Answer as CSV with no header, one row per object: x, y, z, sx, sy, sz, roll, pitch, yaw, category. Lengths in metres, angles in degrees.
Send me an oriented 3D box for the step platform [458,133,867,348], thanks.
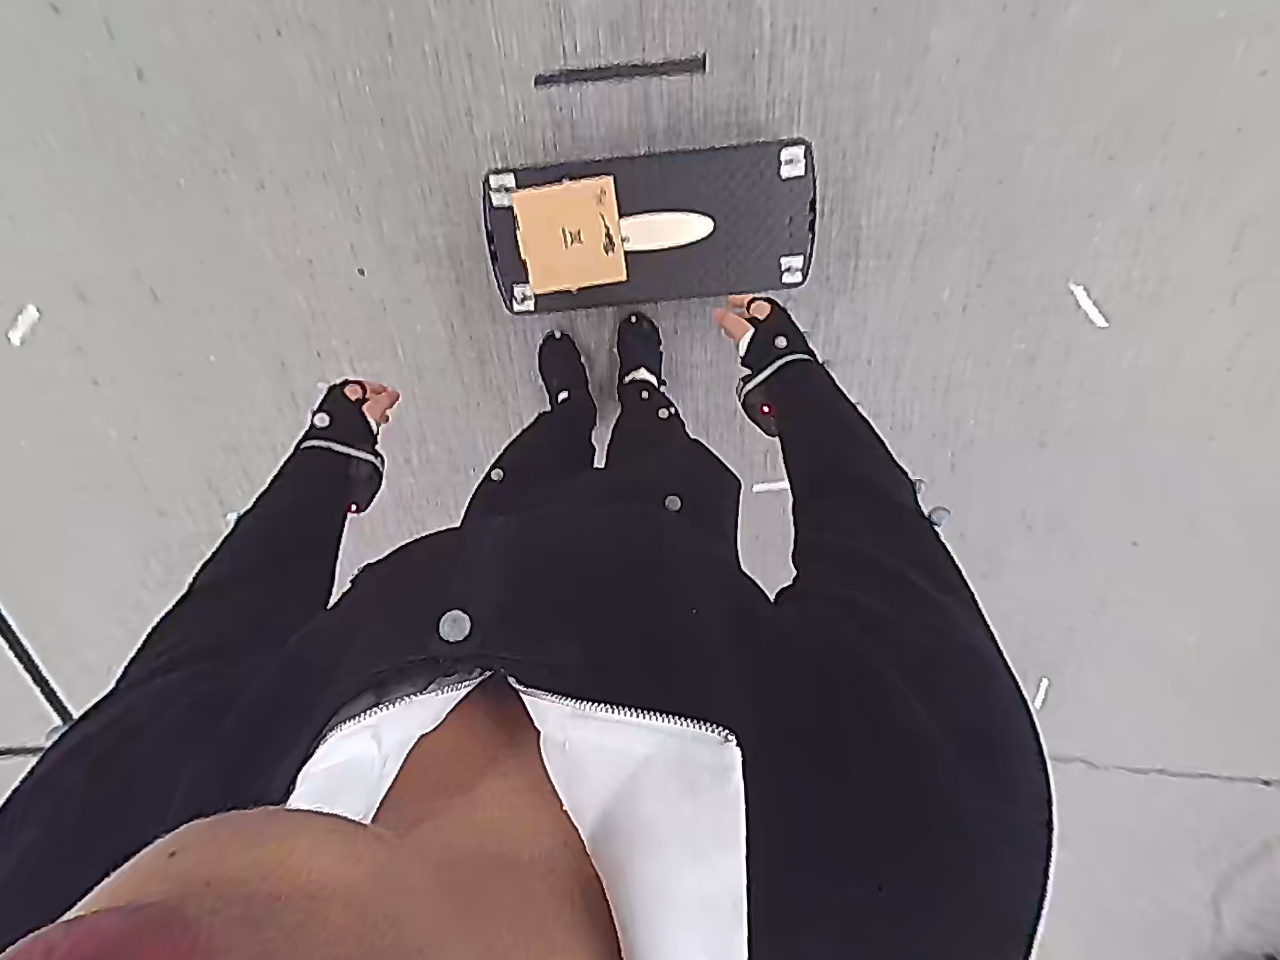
0.038,-0.428,0.996,0.684,0.204,0.286,-6,114,0,step platform

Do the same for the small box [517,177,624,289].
-0.125,-0.459,1.016,0.179,0.176,0.168,-8,114,2,small box
